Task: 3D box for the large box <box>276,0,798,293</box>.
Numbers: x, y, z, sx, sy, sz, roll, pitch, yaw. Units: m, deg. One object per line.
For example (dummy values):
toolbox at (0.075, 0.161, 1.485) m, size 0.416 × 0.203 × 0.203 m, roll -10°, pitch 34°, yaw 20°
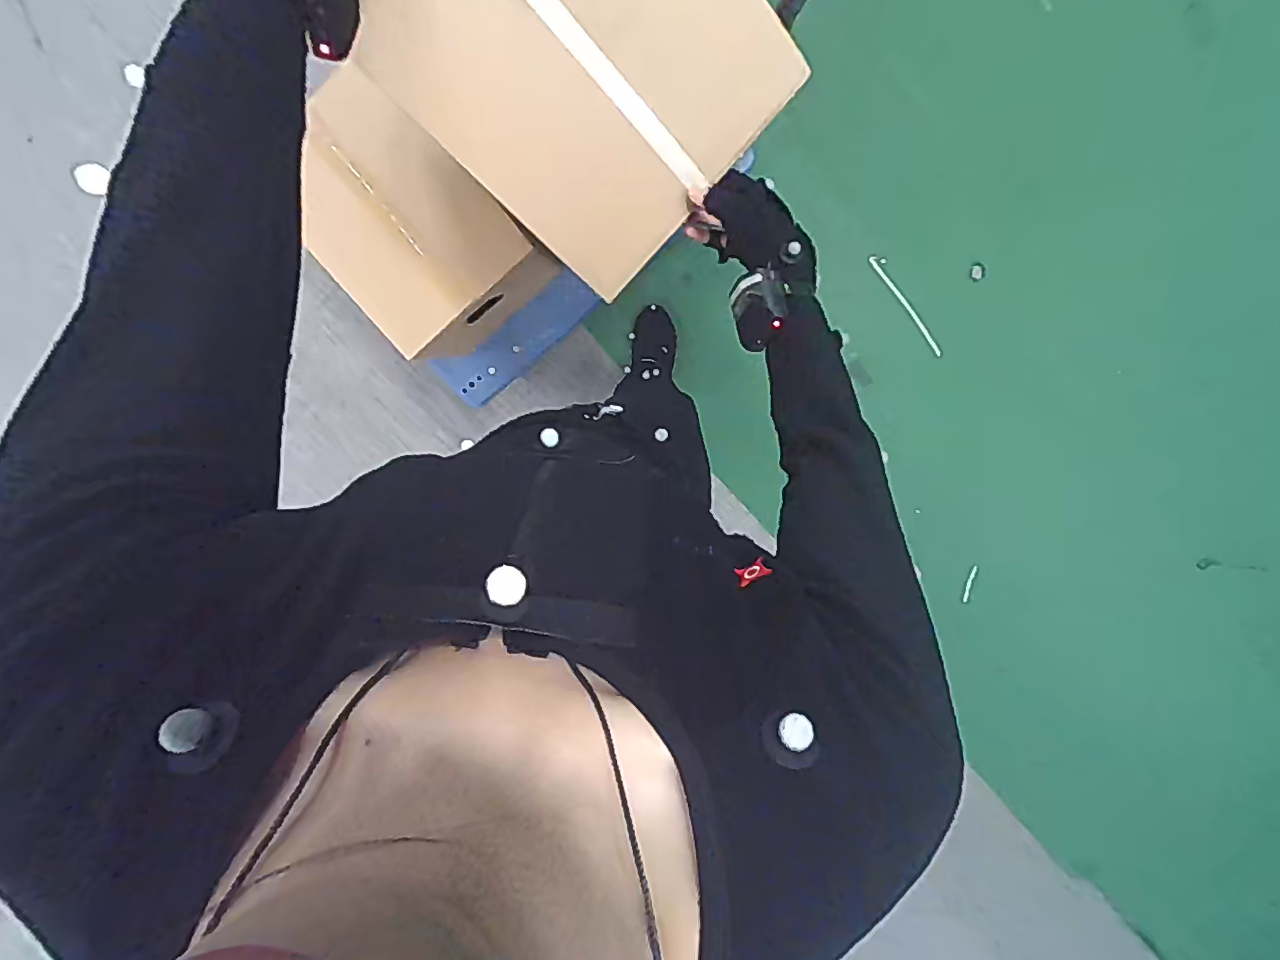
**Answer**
large box at (-0.101, -0.493, 0.629) m, size 0.408 × 0.320 × 0.320 m, roll 38°, pitch 107°, yaw -25°
